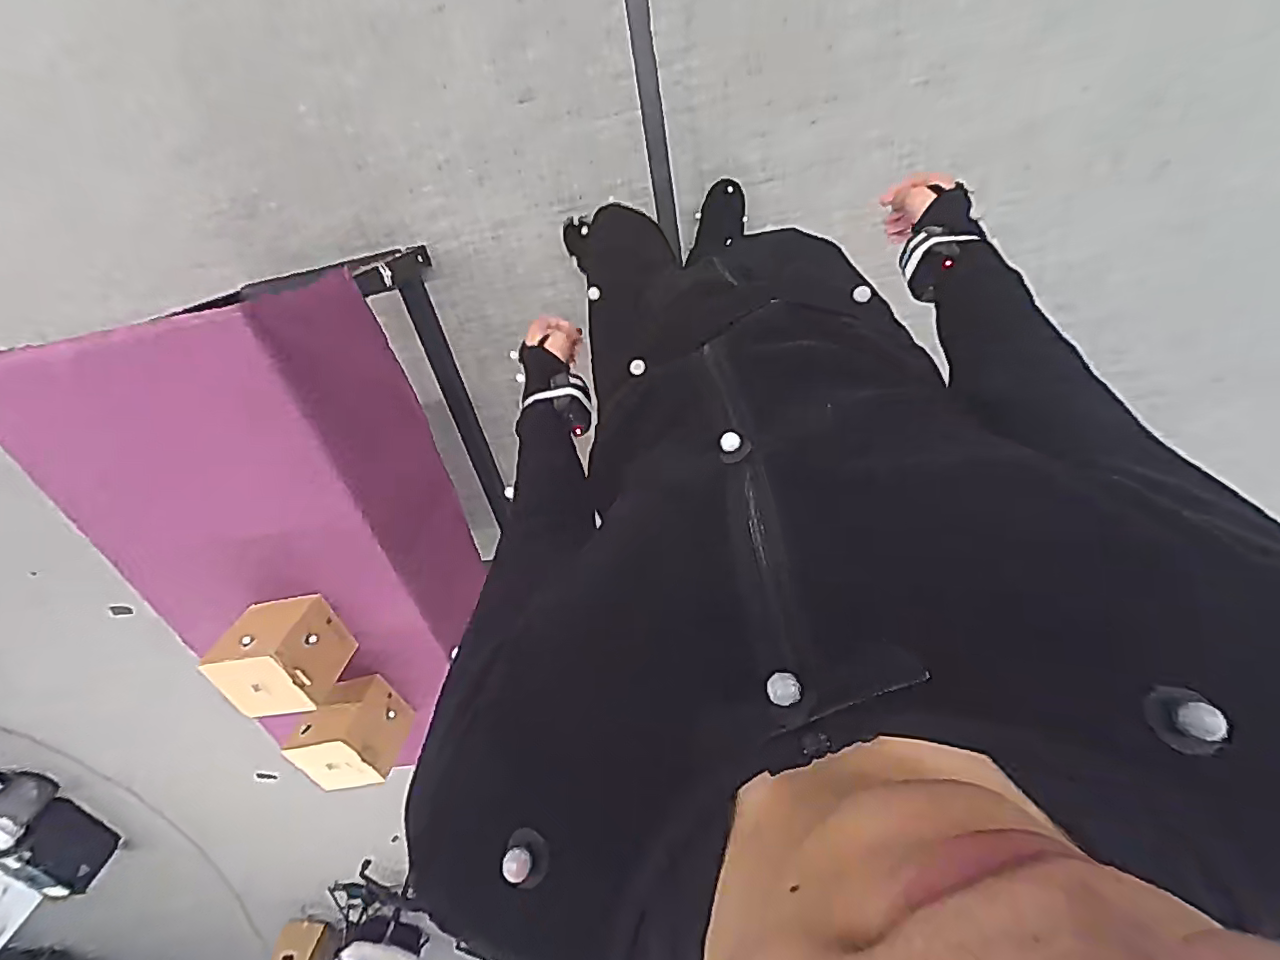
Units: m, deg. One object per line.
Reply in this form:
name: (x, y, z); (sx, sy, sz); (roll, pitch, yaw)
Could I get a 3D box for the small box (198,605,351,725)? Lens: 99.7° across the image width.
small box: (-0.739, 0.378, 1.124); (0.179, 0.176, 0.168); (-10, 120, 10)

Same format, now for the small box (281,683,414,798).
small box: (-0.668, 0.602, 1.257); (0.179, 0.176, 0.168); (-17, 120, 13)
